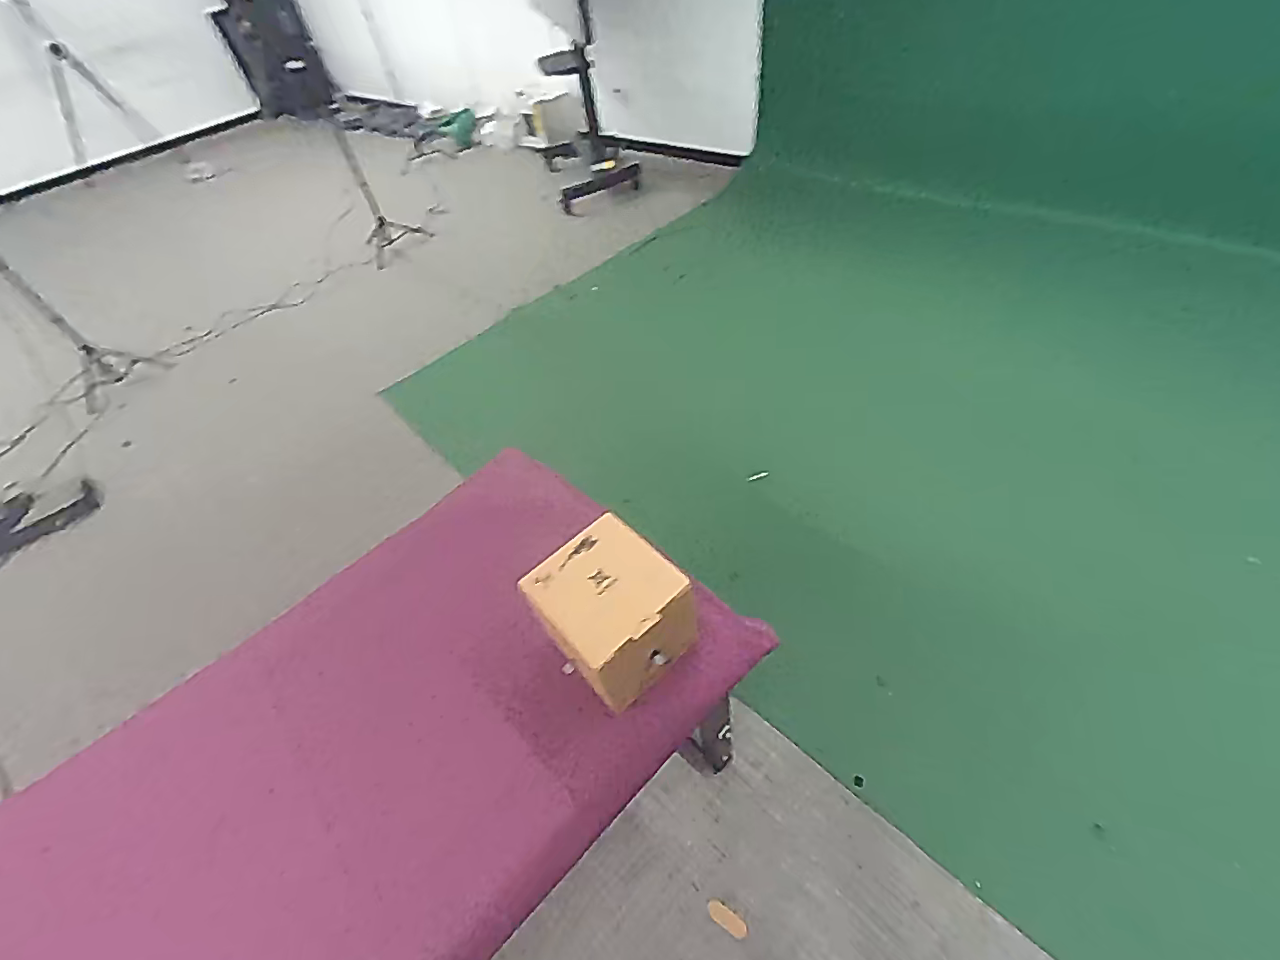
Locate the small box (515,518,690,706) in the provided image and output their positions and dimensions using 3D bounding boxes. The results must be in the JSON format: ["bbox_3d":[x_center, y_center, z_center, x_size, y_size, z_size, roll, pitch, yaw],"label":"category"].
[{"bbox_3d":[-0.043,0.195,0.771,0.168,0.176,0.179,-37,54,-21],"label":"small box"}]
